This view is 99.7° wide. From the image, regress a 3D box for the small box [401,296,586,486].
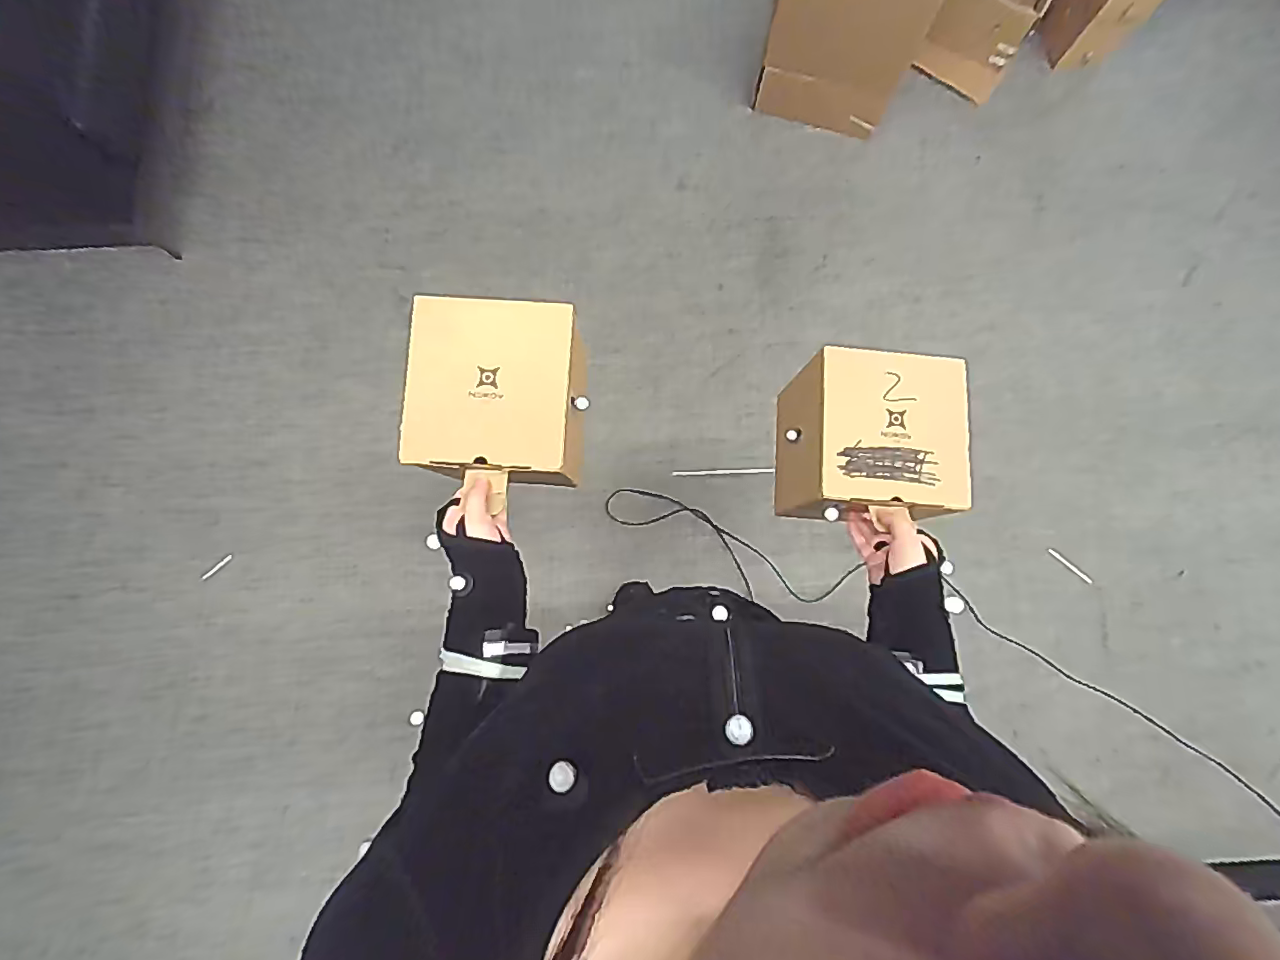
[{"bbox_3d":[-0.154,-0.091,0.626,0.168,0.176,0.179,4,86,-1],"label":"small box"}]
